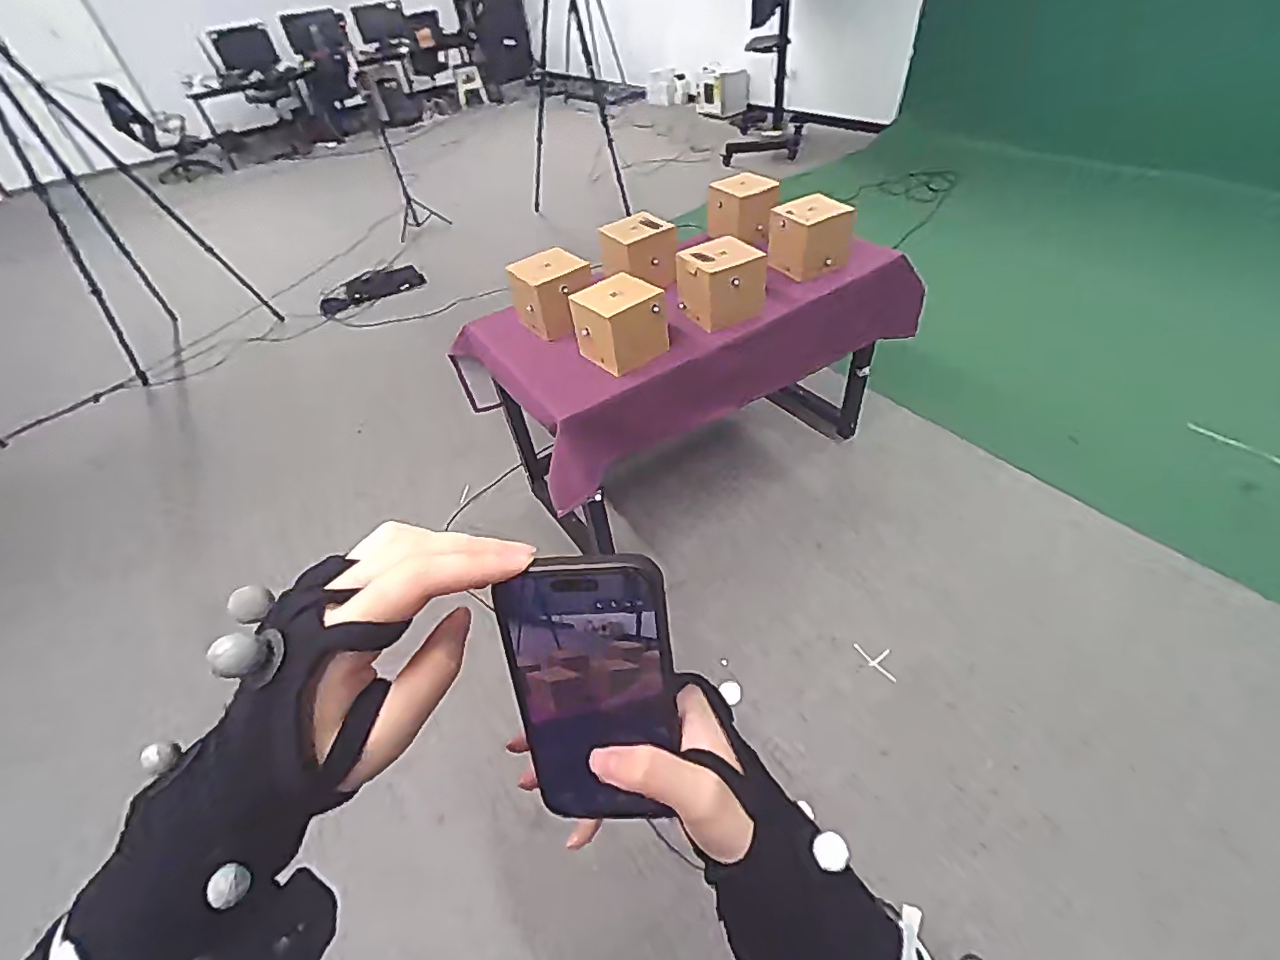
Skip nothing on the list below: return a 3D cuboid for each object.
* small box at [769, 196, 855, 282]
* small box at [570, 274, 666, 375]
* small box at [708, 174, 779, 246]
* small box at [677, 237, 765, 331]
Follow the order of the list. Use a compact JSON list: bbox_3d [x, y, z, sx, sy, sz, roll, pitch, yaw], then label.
[{"bbox_3d":[0.502,-0.715,1.606,0.179,0.176,0.168,-23,47,-15],"label":"small box"},{"bbox_3d":[-0.048,-0.391,1.364,0.179,0.176,0.168,-33,50,-24],"label":"small box"},{"bbox_3d":[0.340,-0.896,1.805,0.168,0.176,0.179,-27,49,-17],"label":"small box"},{"bbox_3d":[0.218,-0.527,1.460,0.179,0.176,0.168,-24,47,-16],"label":"small box"}]
